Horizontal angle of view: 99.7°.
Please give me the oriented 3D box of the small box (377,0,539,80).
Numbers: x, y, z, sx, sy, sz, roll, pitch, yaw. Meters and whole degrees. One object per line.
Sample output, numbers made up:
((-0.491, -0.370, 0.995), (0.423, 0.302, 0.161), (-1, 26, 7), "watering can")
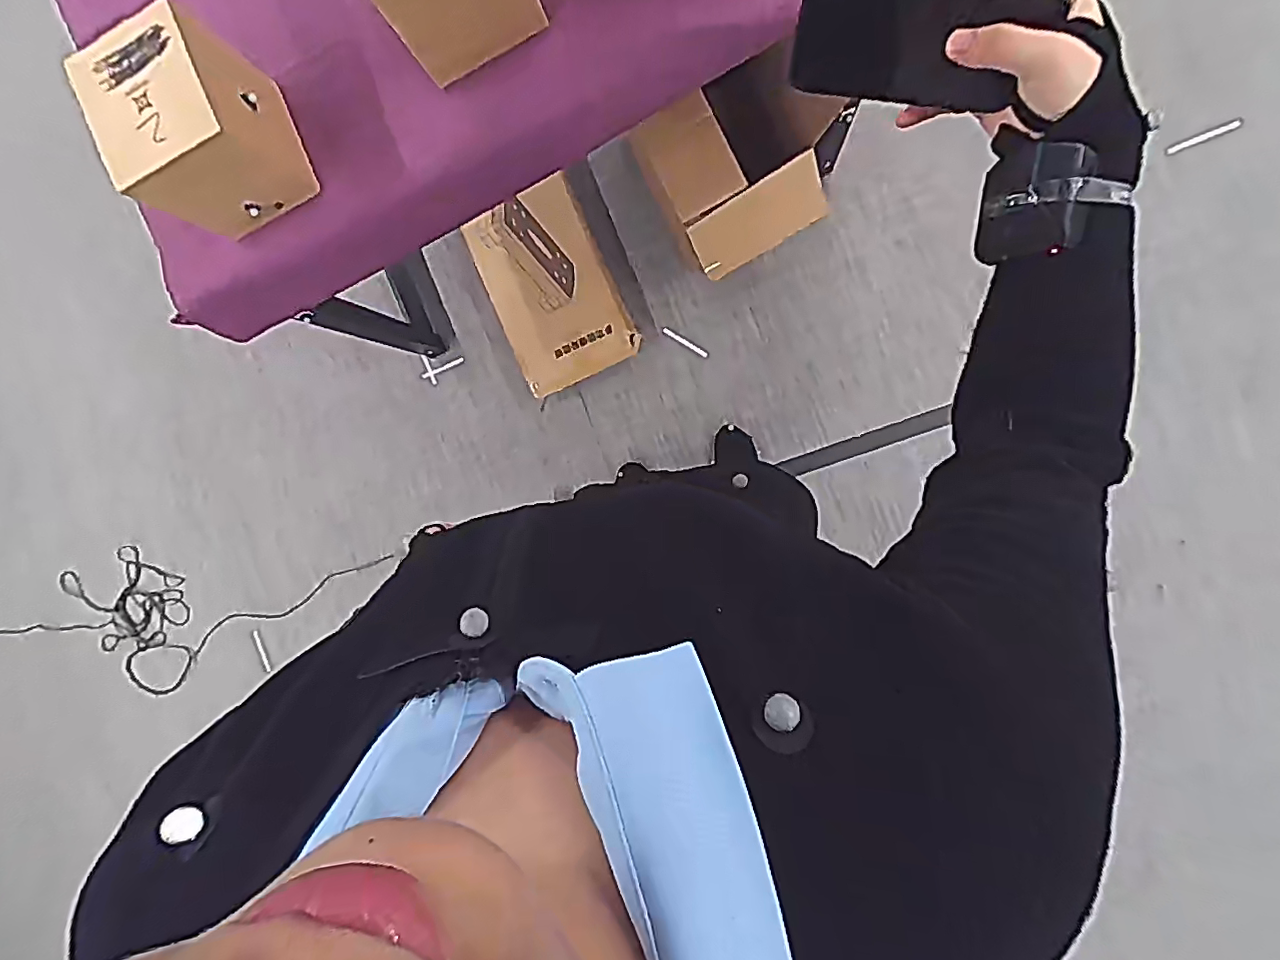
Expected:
((-0.240, -0.650, 0.657), (0.179, 0.176, 0.168), (-23, 88, 9), "small box")
